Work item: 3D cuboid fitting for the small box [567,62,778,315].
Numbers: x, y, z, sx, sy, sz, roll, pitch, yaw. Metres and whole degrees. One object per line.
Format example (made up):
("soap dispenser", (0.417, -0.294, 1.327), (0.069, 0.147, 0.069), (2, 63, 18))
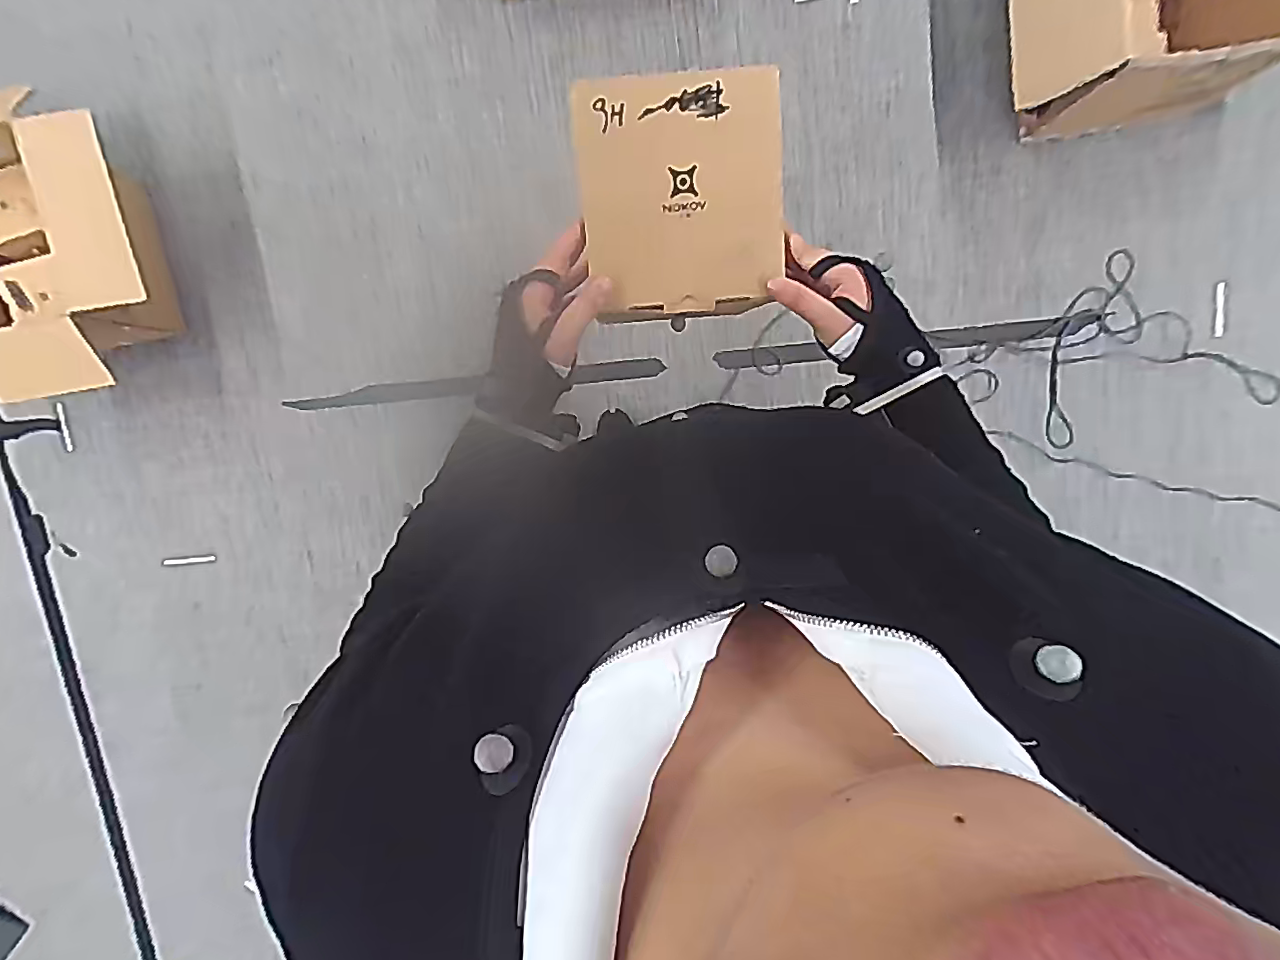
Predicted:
("small box", (0.028, -0.253, 0.515), (0.168, 0.176, 0.179), (-5, 104, -1))
